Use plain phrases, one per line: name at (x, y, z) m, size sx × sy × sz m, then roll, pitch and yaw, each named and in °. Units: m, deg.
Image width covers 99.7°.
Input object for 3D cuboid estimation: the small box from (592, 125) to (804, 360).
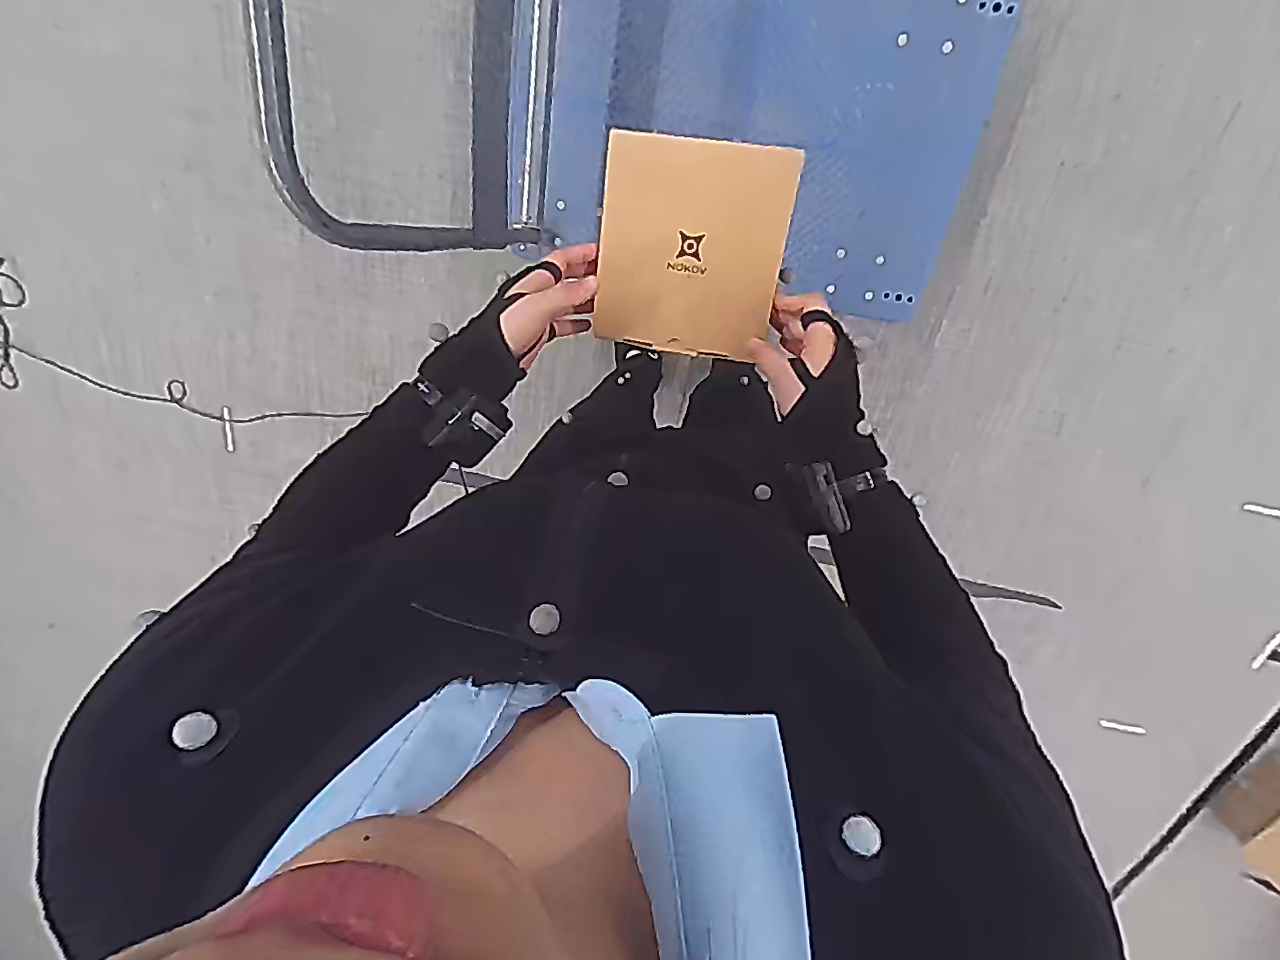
small box at (0.058, -0.235, 0.552) m, size 0.168 × 0.176 × 0.179 m, roll 11°, pitch 114°, yaw 7°
